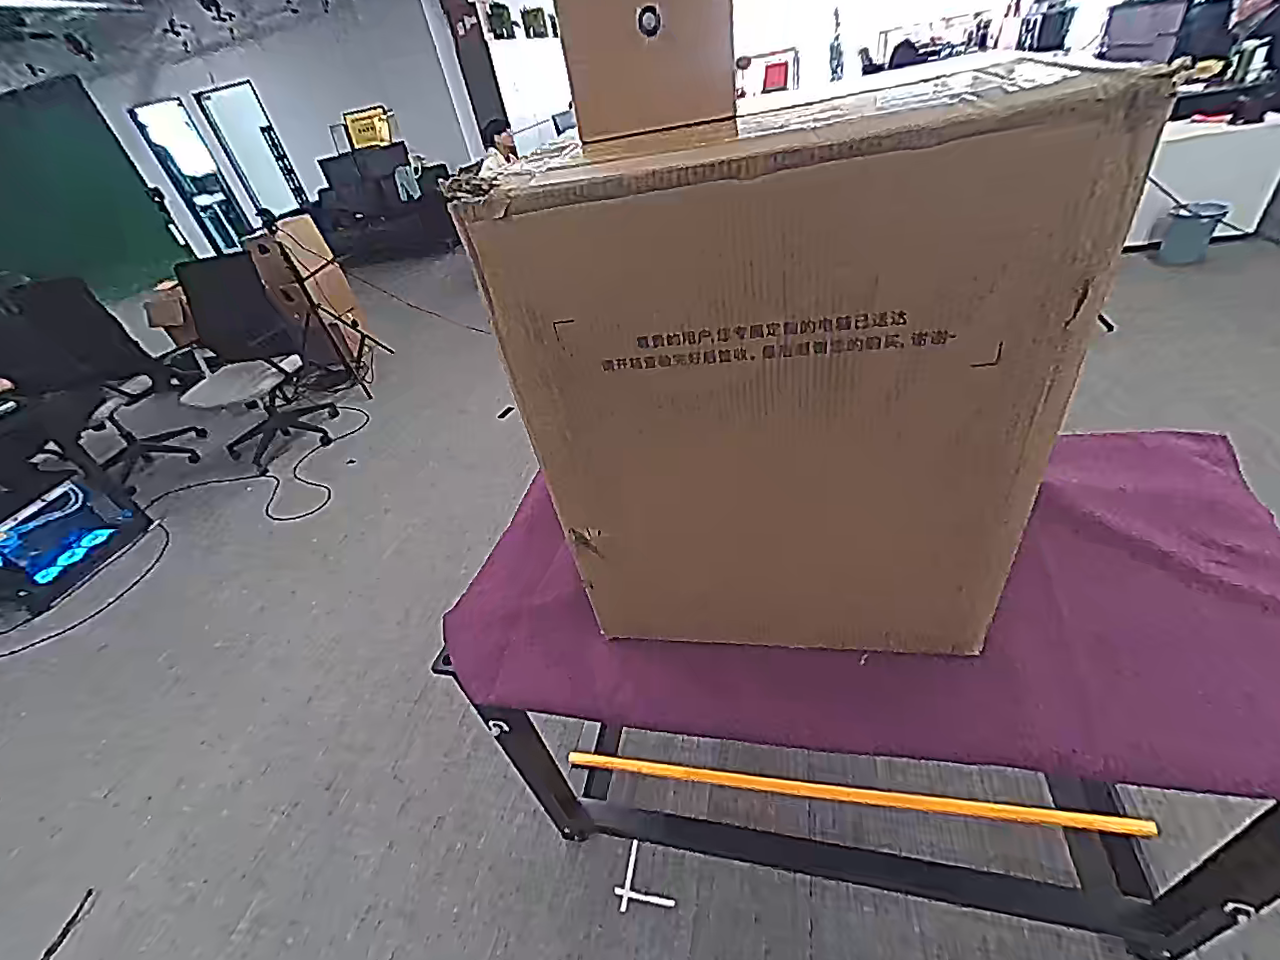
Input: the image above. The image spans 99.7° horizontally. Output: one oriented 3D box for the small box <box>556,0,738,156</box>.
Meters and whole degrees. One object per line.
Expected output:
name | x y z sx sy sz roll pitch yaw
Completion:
small box | 0.014 -0.470 0.580 0.168 0.176 0.179 -3 39 10
